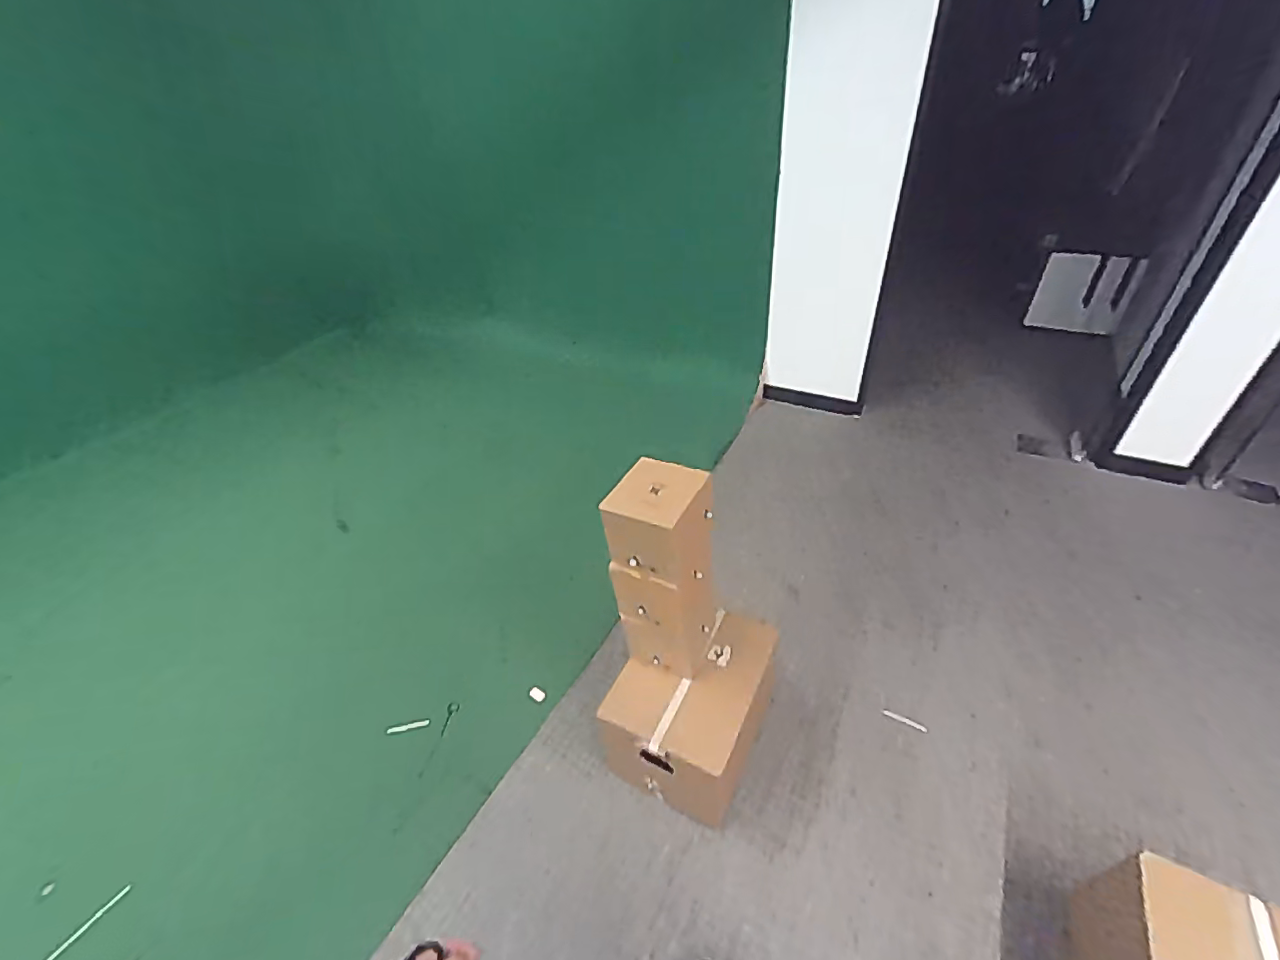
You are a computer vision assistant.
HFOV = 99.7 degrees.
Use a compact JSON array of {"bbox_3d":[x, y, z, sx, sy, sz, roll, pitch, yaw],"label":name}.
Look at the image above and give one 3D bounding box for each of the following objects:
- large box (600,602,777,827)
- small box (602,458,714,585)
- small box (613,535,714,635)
[{"bbox_3d":[0.143,0.580,1.405,0.320,0.320,0.408,16,44,25],"label":"large box"},{"bbox_3d":[0.046,0.083,1.121,0.168,0.176,0.179,15,45,29],"label":"small box"},{"bbox_3d":[0.059,0.212,1.220,0.168,0.176,0.179,14,45,27],"label":"small box"}]
